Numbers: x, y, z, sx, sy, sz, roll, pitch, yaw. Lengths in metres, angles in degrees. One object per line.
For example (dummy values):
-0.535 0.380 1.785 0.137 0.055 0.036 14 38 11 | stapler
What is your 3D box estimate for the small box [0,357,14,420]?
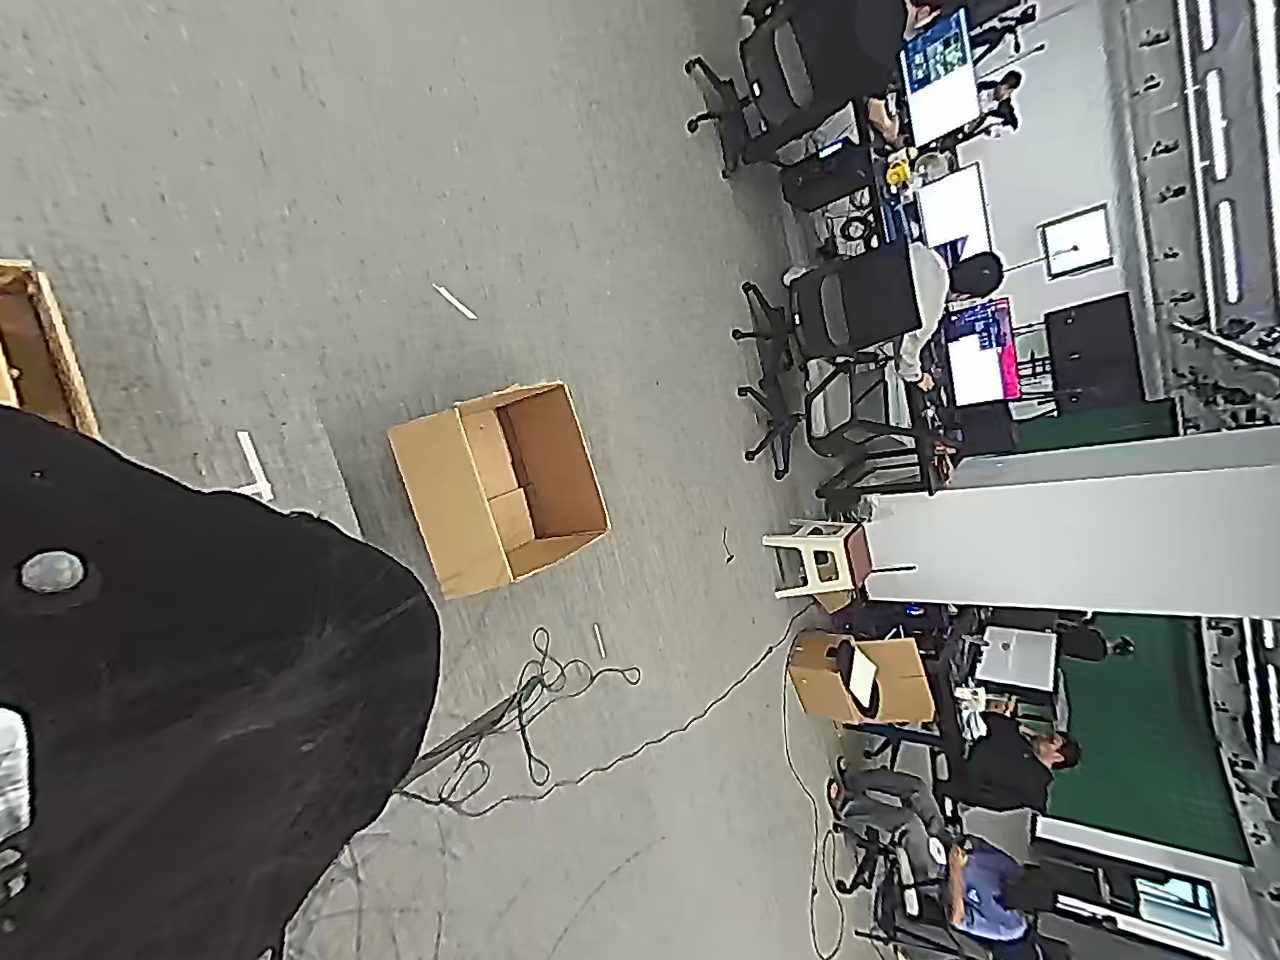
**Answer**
-1.156 -0.184 0.873 0.168 0.176 0.179 -17 99 -48 | small box
